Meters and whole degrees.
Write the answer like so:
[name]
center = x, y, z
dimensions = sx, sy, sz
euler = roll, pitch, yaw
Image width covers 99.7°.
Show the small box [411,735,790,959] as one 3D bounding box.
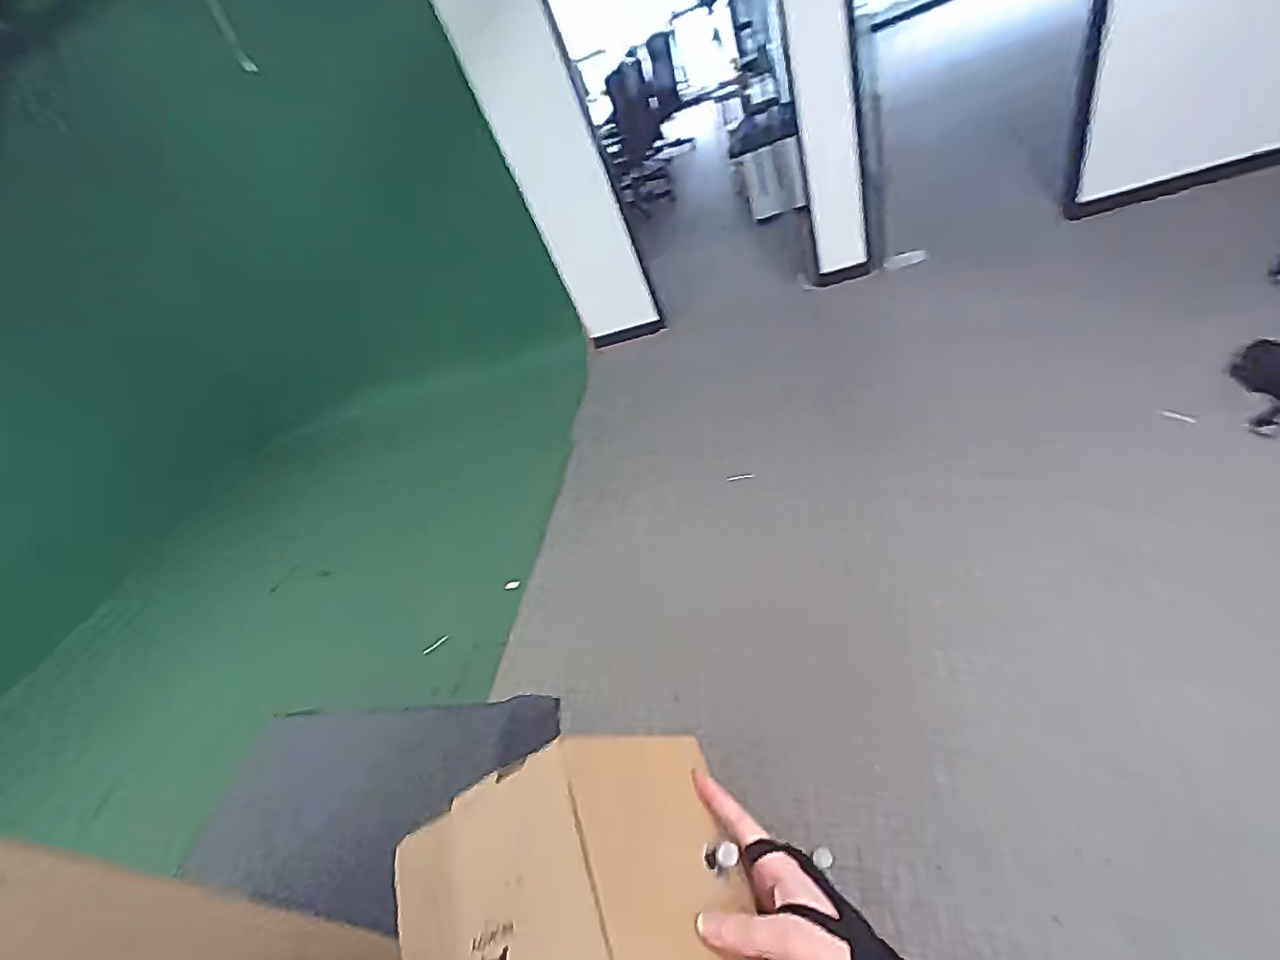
[small box]
center = -0.026, 0.298, 0.370
dimensions = 0.168, 0.176, 0.179
euler = -40, 51, 17
